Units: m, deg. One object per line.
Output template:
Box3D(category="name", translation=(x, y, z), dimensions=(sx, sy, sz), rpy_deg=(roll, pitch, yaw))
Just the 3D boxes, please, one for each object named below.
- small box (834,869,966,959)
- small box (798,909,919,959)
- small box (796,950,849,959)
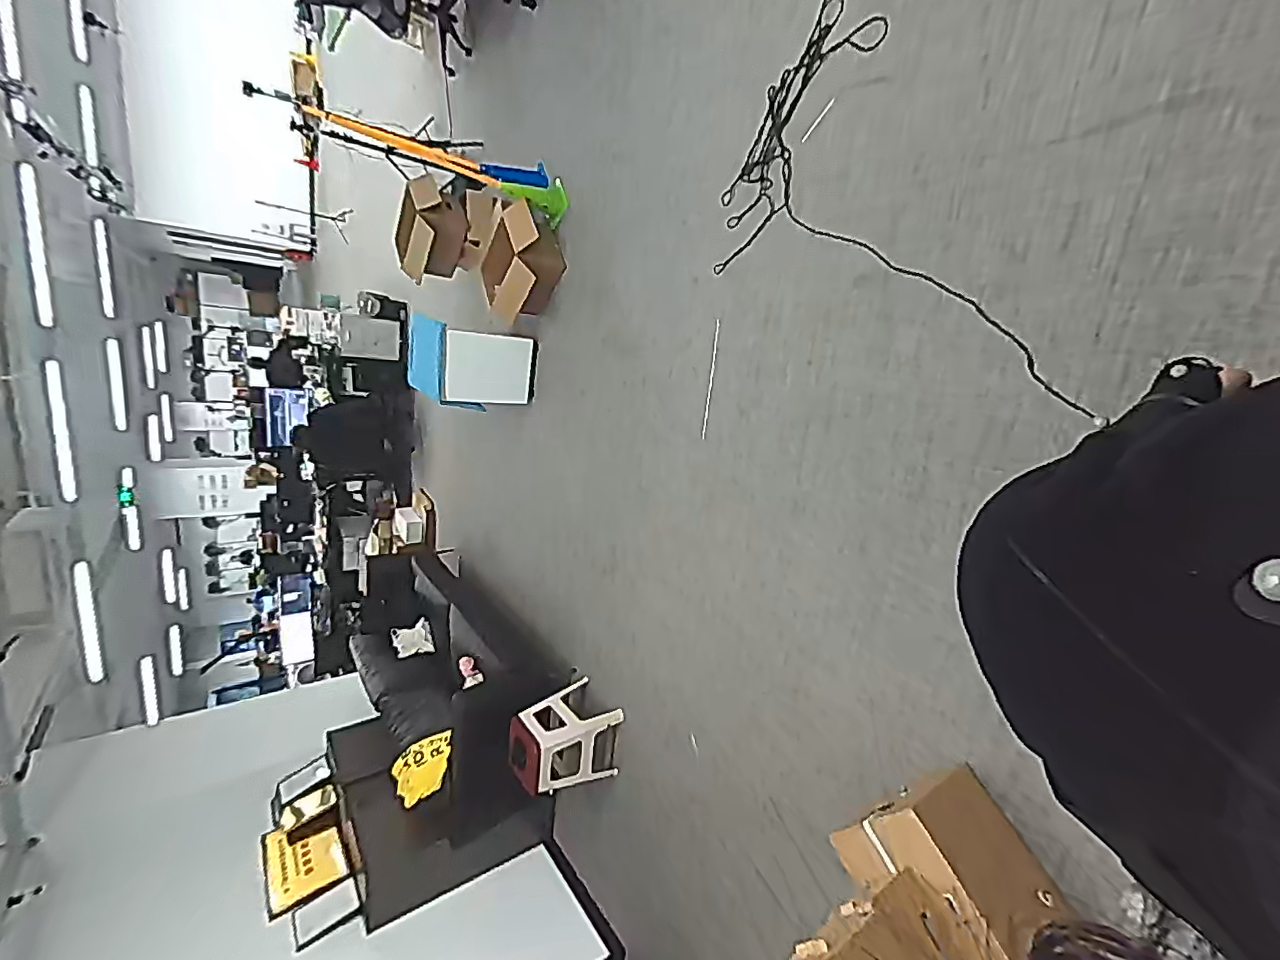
Box3D(category="small box", translation=(0.596, 1.034, 1.244), dimensions=(0.179, 0.176, 0.168), rpy_deg=(57, 136, 33))
Box3D(category="small box", translation=(0.476, 1.039, 1.130), dimensions=(0.179, 0.176, 0.168), rpy_deg=(59, 136, 29))
Box3D(category="small box", translation=(0.343, 1.048, 1.036), dimensions=(0.168, 0.176, 0.179), rpy_deg=(59, 136, 31))
